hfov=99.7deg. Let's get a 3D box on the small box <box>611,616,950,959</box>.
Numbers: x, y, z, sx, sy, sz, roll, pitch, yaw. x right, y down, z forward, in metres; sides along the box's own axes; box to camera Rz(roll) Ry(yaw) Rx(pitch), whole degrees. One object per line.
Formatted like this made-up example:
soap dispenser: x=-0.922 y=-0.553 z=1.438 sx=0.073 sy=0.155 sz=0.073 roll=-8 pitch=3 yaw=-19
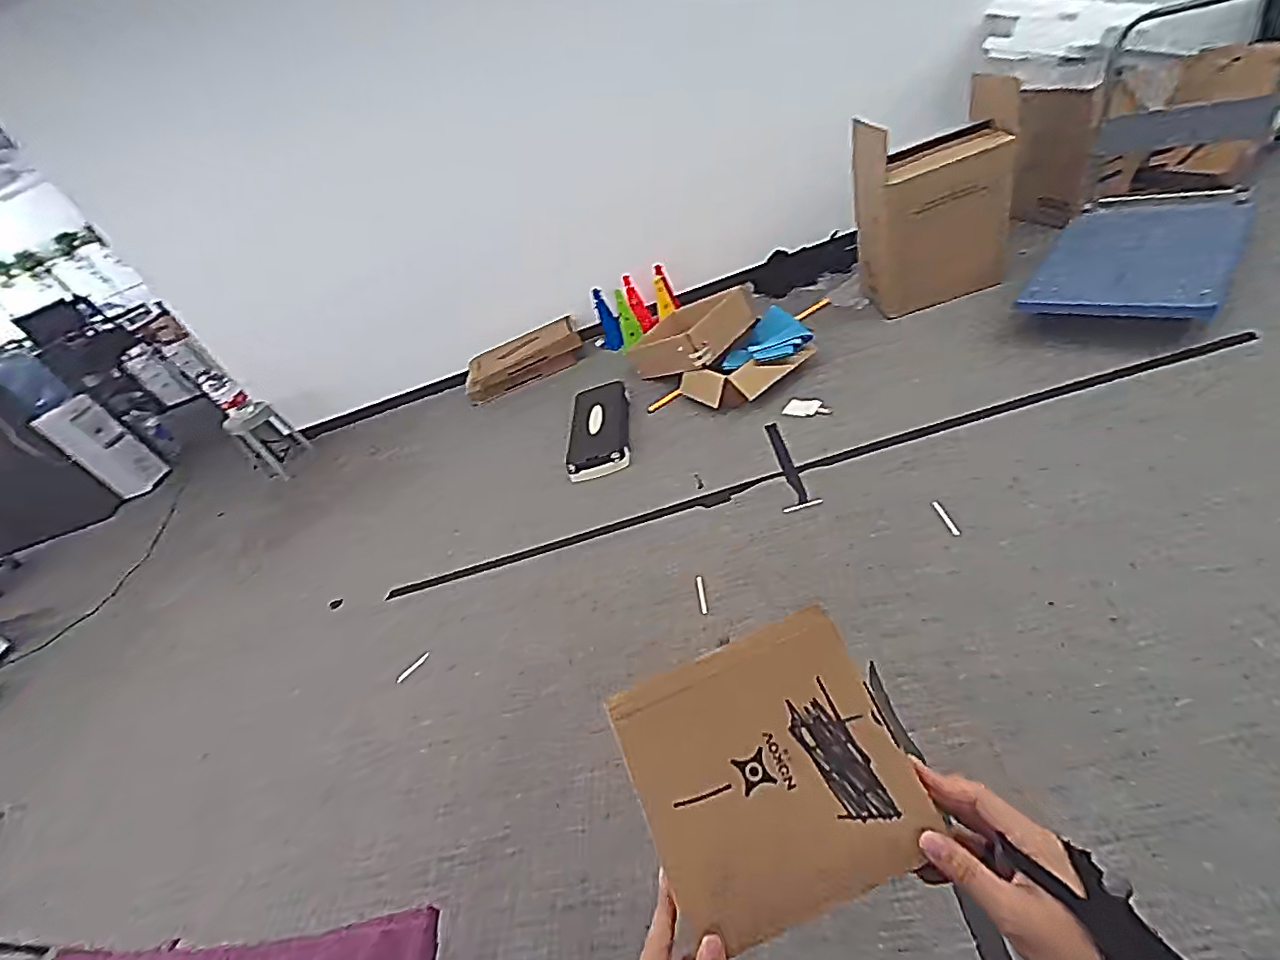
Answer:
small box: x=0.095 y=0.230 z=0.435 sx=0.179 sy=0.176 sz=0.168 roll=-24 pitch=64 yaw=-2
